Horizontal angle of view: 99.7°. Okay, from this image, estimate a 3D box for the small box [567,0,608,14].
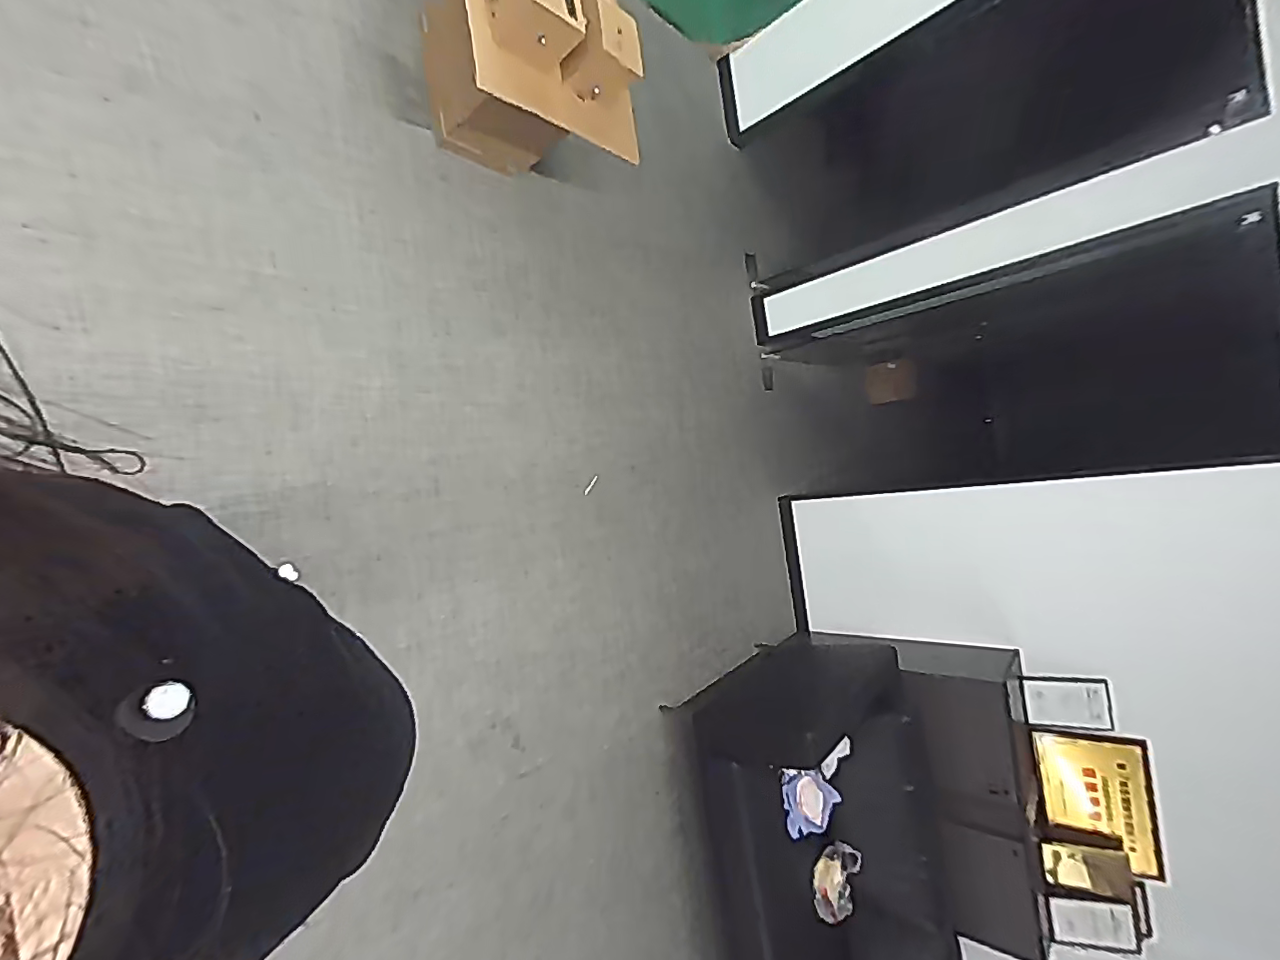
[{"bbox_3d":[-0.157,-1.471,1.517,0.179,0.176,0.168,-11,91,-49],"label":"small box"}]
